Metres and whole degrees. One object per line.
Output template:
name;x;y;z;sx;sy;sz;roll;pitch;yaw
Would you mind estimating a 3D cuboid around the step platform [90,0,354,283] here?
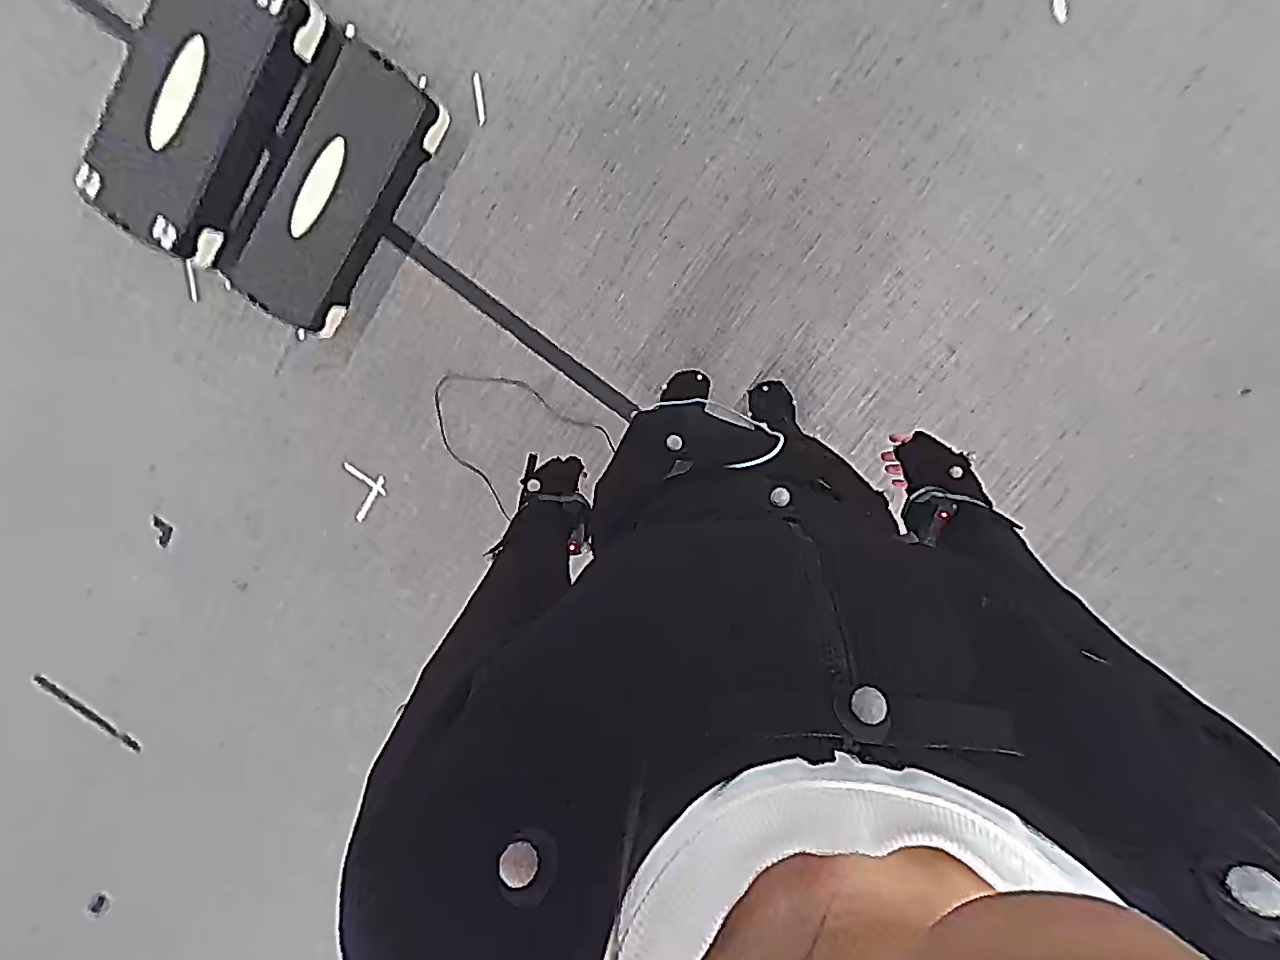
step platform;-0.987;-0.832;1.283;0.286;0.204;0.684;35;101;-3
